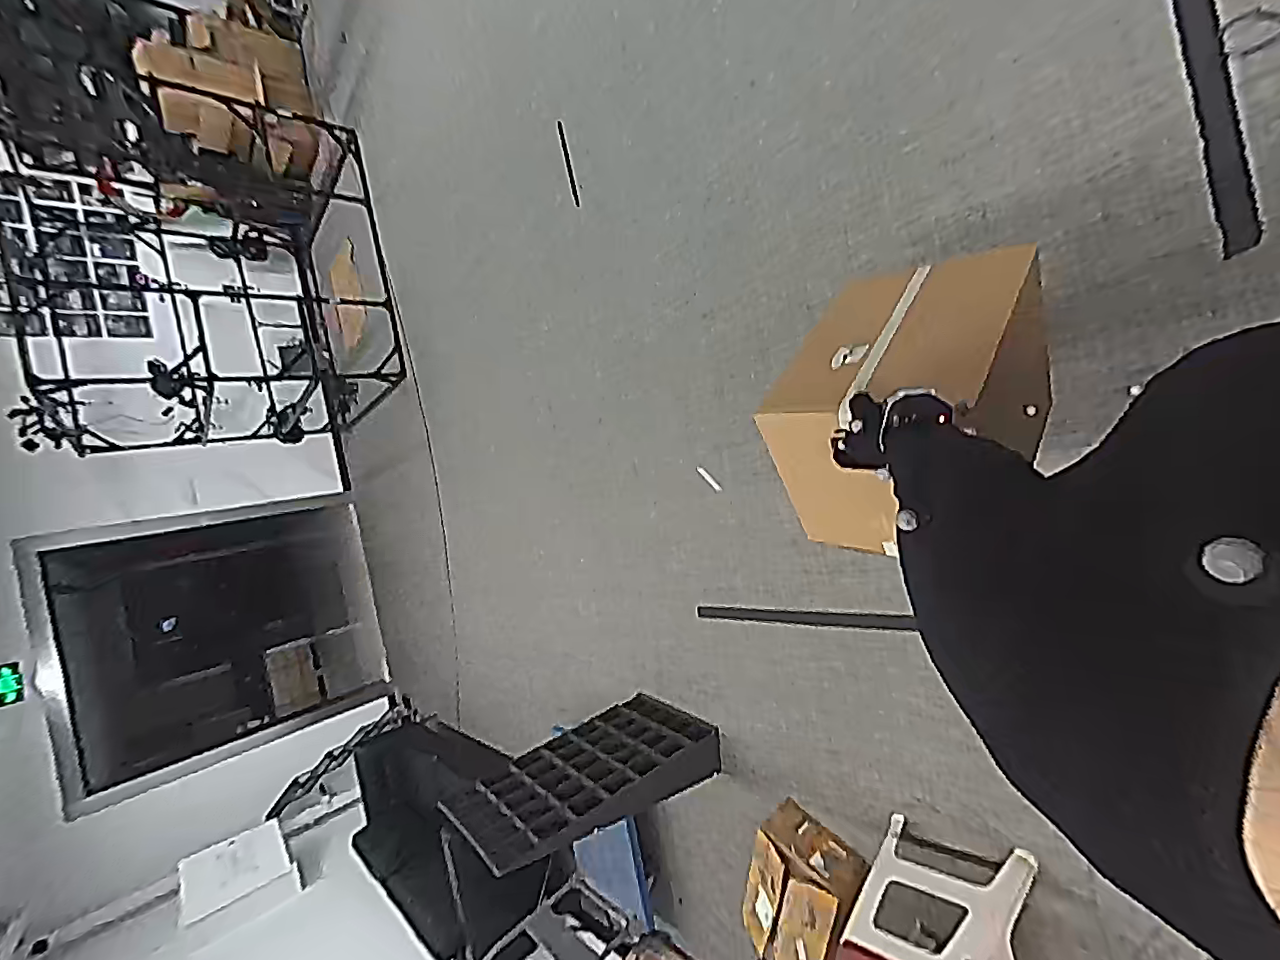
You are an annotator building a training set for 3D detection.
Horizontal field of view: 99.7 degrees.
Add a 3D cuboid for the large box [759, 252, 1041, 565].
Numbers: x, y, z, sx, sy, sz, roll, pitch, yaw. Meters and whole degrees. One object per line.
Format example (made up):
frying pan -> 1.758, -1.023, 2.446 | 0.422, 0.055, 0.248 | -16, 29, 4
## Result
large box -> 0.468, -0.122, 0.934 | 0.320, 0.408, 0.320 | 3, 137, 46
